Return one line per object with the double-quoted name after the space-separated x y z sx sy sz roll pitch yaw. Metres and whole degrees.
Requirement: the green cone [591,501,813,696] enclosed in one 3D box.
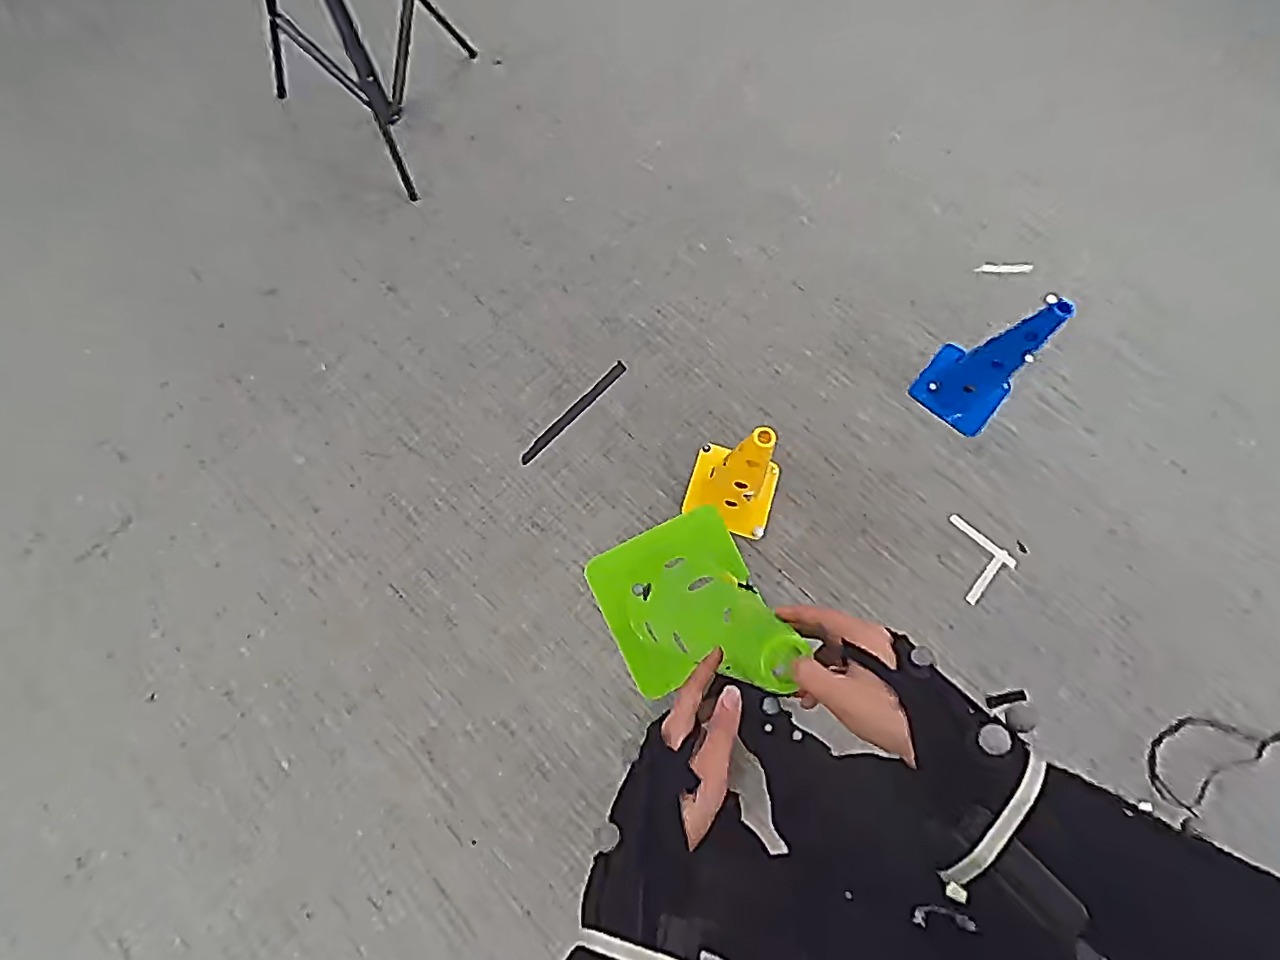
0.079 0.134 0.534 0.202 0.368 0.200 -26 88 -8 "green cone"
